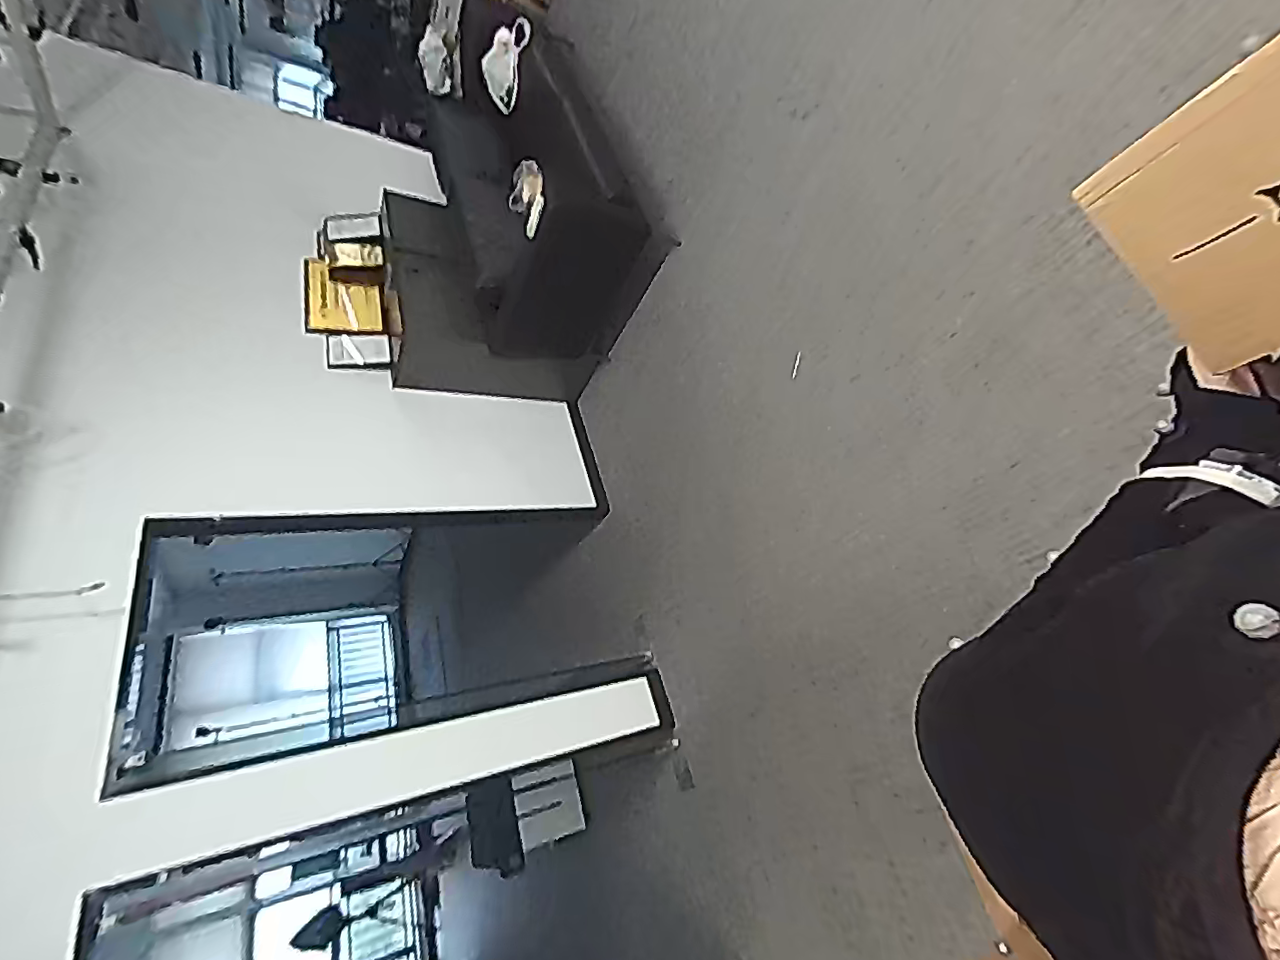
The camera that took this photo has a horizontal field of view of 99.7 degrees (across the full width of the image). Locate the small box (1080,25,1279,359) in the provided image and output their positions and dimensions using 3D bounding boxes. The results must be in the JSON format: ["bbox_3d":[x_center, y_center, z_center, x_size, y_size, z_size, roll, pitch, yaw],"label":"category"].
[{"bbox_3d":[0.452,-0.213,0.354,0.168,0.176,0.179,59,148,6],"label":"small box"}]
